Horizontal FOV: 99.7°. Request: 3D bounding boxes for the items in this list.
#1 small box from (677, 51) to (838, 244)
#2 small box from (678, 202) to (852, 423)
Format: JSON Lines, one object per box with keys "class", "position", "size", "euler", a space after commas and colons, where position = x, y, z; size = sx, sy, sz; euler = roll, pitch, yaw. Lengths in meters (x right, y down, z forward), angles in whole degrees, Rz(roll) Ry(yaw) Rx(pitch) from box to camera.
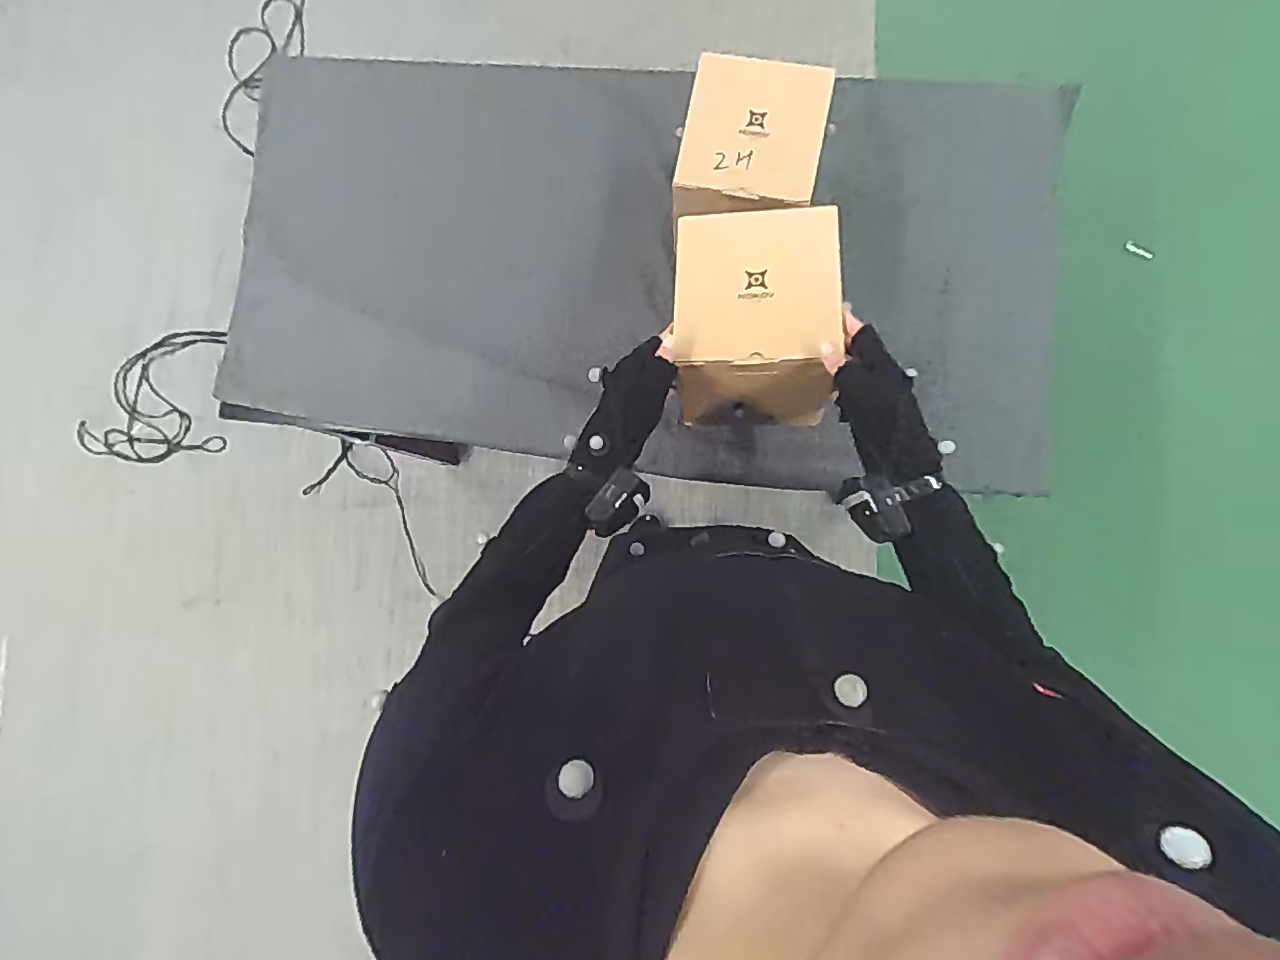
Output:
{"class": "small box", "position": [0.146, -0.415, 0.724], "size": [0.168, 0.176, 0.179], "euler": [12, 86, 6]}
{"class": "small box", "position": [0.134, -0.176, 0.611], "size": [0.168, 0.176, 0.179], "euler": [0, 75, 10]}
